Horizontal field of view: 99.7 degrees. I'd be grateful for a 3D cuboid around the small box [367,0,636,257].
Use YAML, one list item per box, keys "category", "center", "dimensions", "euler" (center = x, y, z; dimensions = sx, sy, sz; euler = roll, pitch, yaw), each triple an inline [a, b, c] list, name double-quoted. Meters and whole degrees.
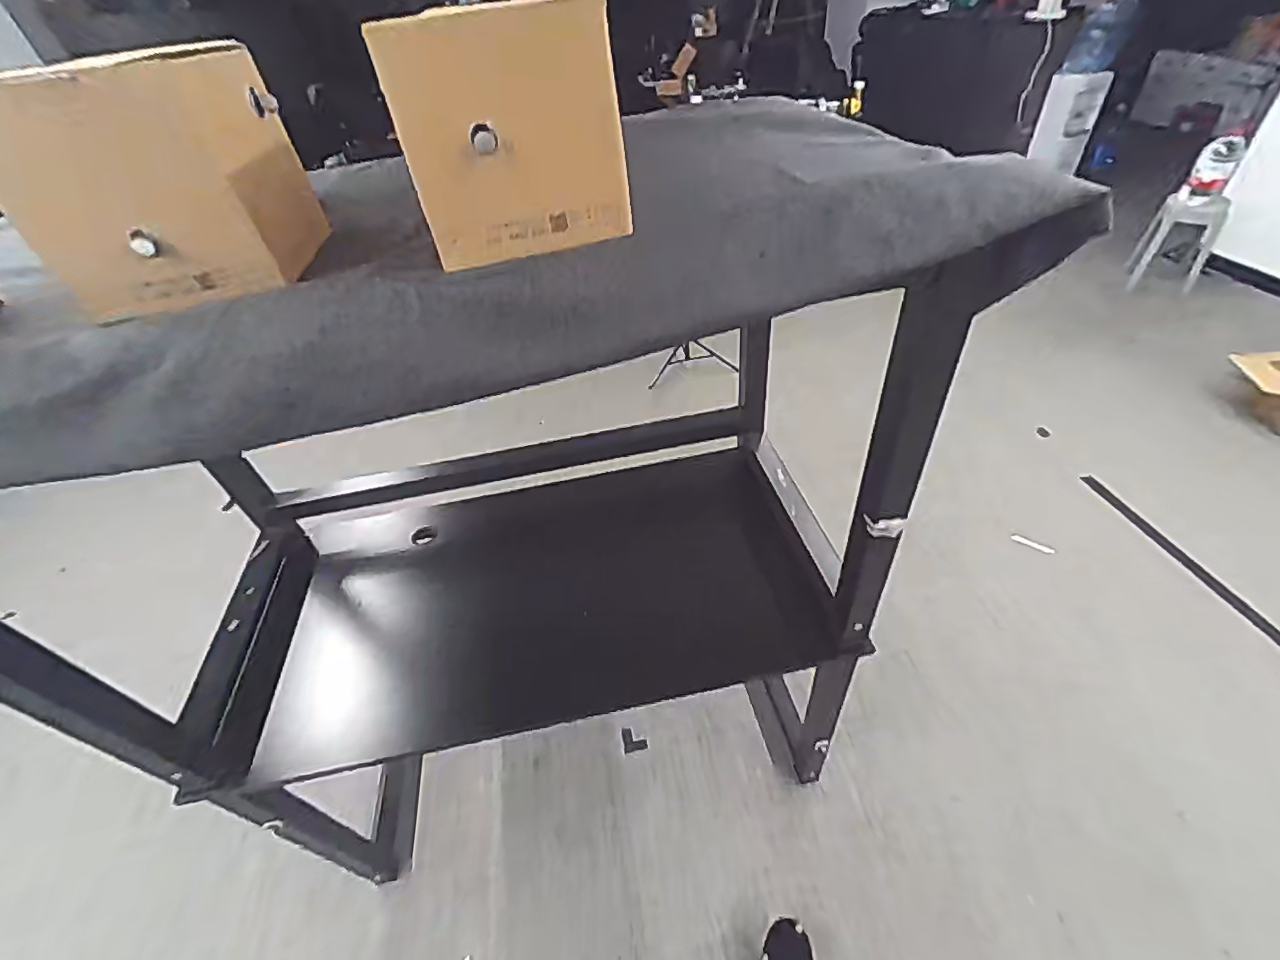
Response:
- category: "small box"
  center: [-0.104, -0.306, 0.467]
  dimensions: [0.168, 0.176, 0.179]
  euler: [-12, 41, -5]
